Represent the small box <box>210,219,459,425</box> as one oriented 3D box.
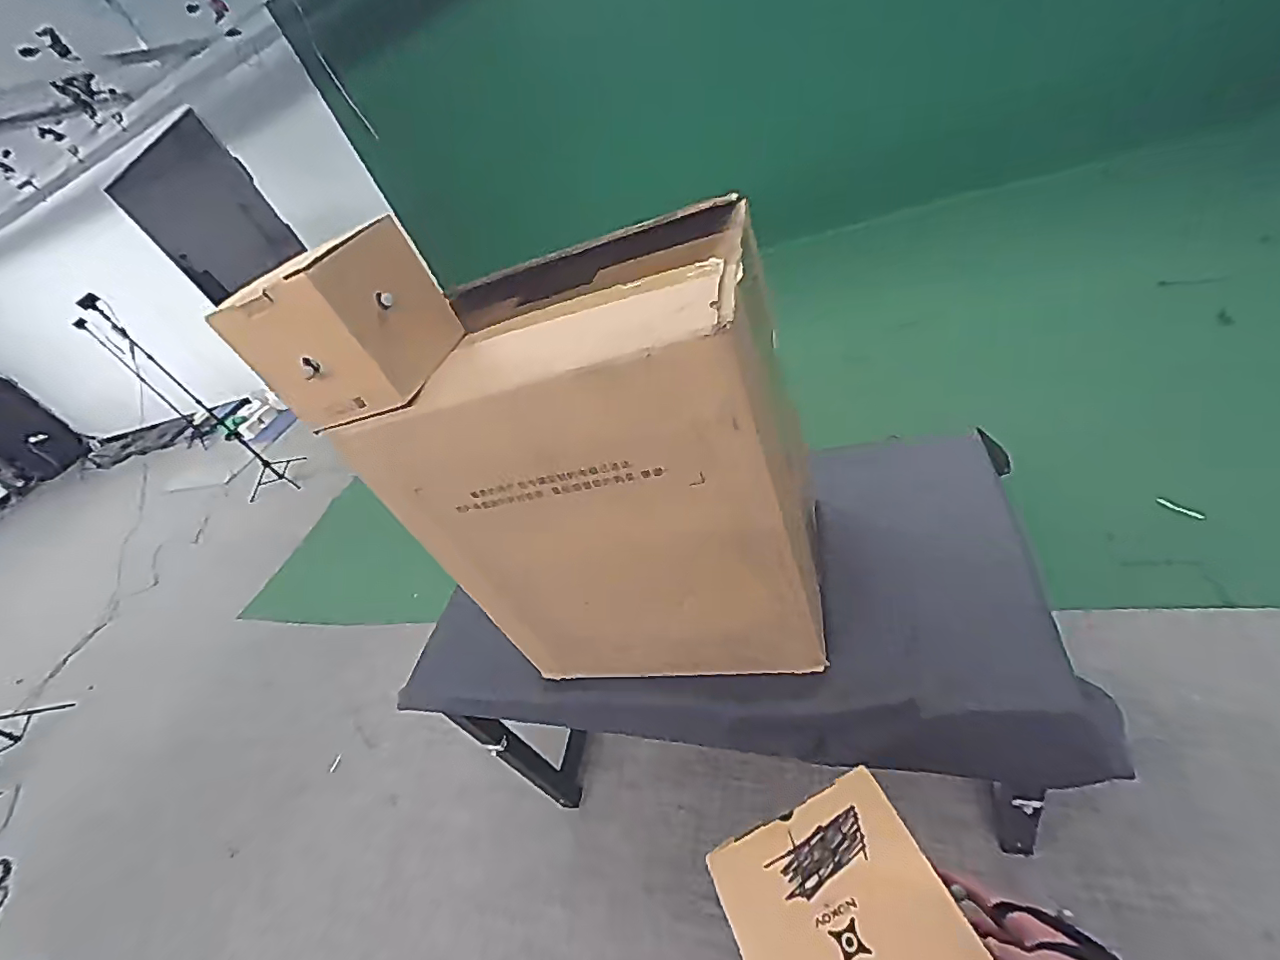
[{"bbox_3d":[-0.358,-0.185,0.672,0.168,0.176,0.179,-10,41,23],"label":"small box"}]
